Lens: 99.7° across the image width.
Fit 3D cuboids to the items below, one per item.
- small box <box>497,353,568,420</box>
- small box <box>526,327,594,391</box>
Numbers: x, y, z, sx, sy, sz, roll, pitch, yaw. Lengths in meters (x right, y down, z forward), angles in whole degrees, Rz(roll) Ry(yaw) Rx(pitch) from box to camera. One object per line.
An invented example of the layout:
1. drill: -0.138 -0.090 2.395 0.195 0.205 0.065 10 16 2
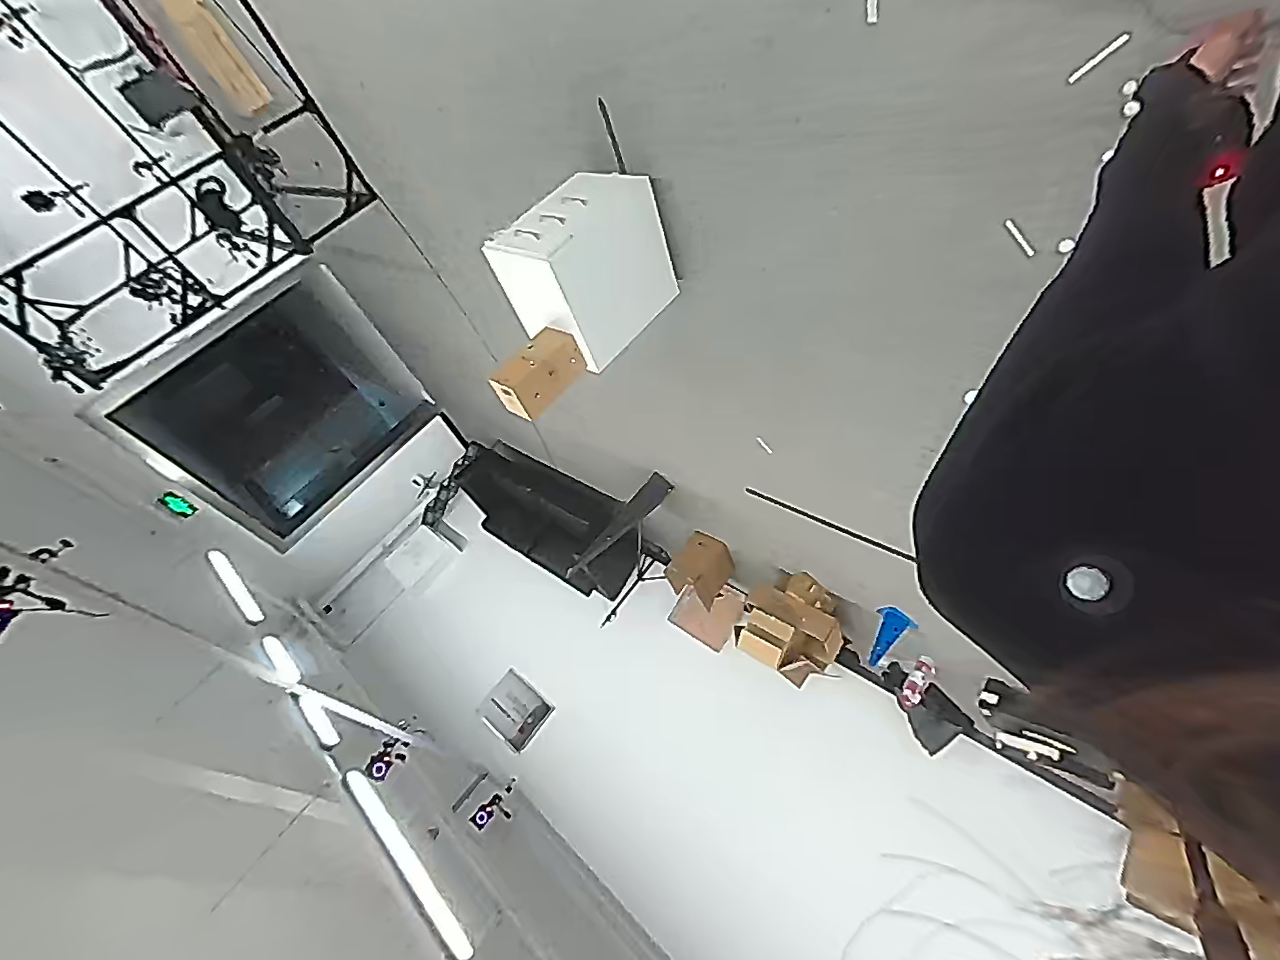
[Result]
1. small box: -0.416 -0.370 2.113 0.168 0.176 0.179 27 157 36
2. small box: -0.317 -0.490 2.168 0.179 0.176 0.168 26 156 37
